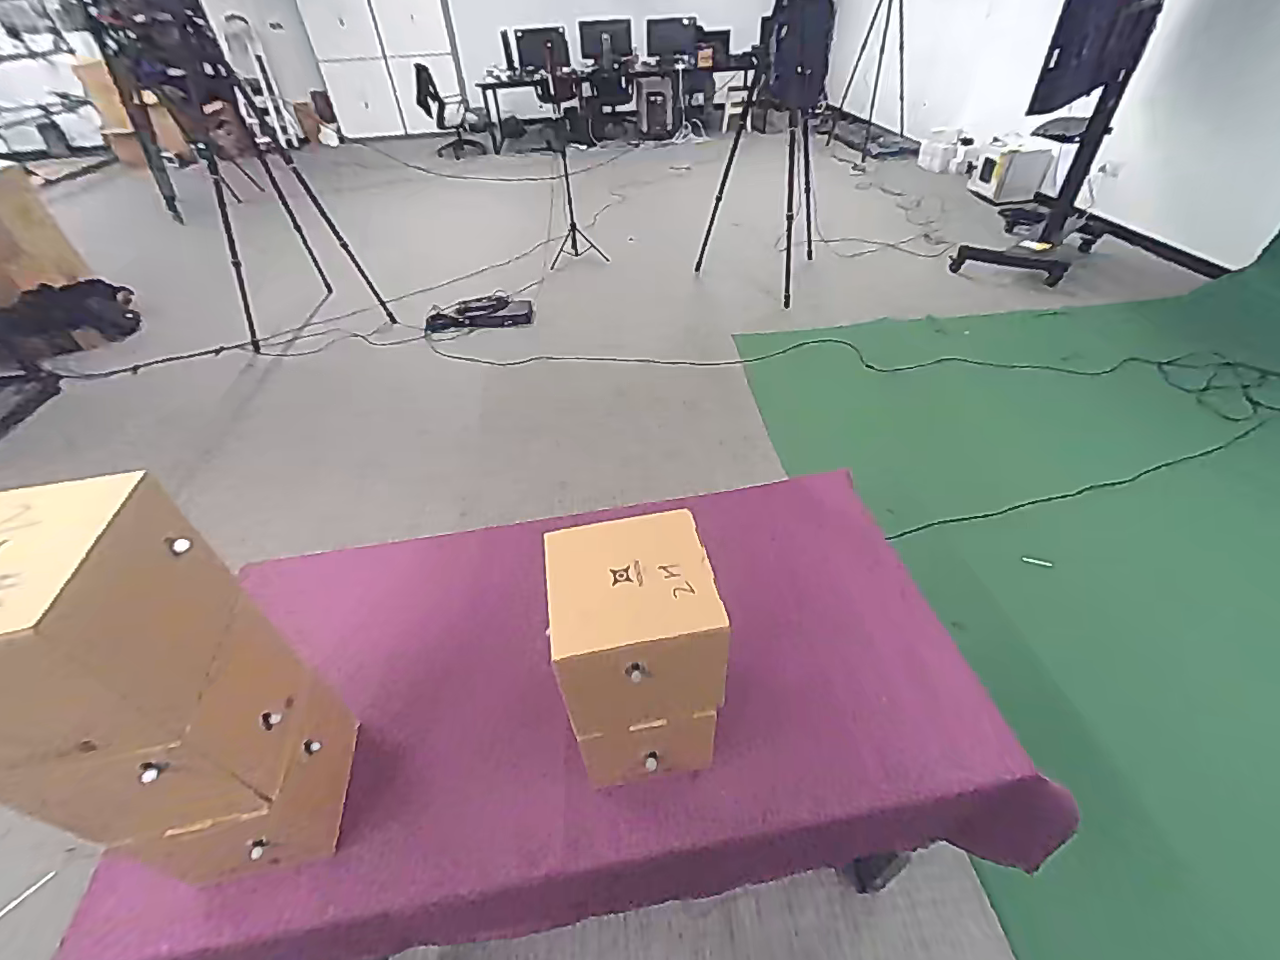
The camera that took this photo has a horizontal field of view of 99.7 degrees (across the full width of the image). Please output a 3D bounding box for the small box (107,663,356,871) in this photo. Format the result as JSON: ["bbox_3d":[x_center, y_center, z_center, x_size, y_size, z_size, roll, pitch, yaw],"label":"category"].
[{"bbox_3d":[-0.484,0.364,0.680,0.168,0.176,0.179,-8,42,-7],"label":"small box"}]

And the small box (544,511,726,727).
[{"bbox_3d":[-0.008,0.162,0.624,0.179,0.176,0.168,-8,43,-5],"label":"small box"}]

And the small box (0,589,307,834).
[{"bbox_3d":[-0.494,0.244,0.571,0.179,0.176,0.168,-9,43,-9],"label":"small box"}]

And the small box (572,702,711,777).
[{"bbox_3d":[-0.004,0.283,0.737,0.168,0.176,0.179,-8,43,-5],"label":"small box"}]
